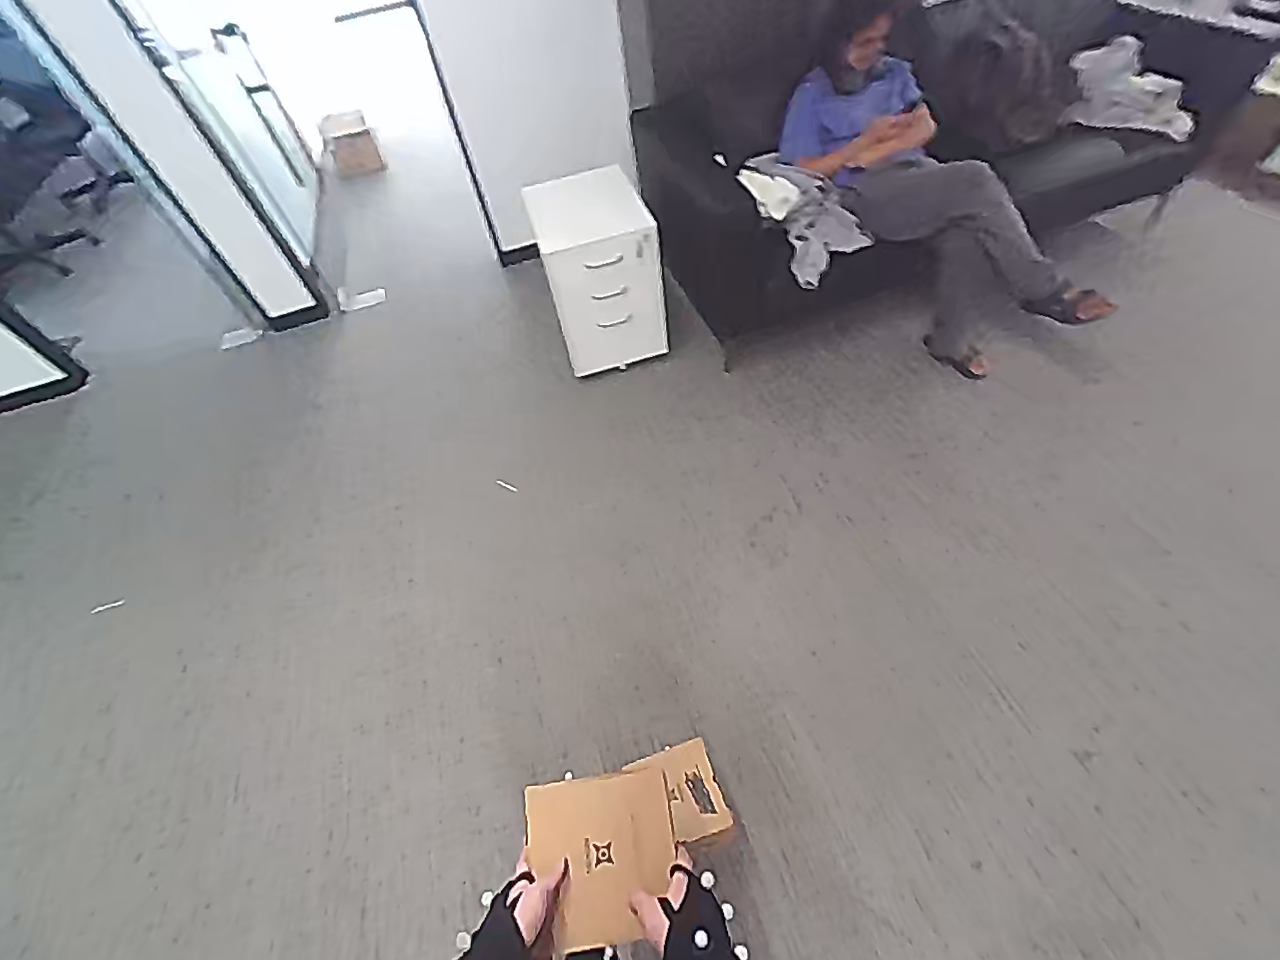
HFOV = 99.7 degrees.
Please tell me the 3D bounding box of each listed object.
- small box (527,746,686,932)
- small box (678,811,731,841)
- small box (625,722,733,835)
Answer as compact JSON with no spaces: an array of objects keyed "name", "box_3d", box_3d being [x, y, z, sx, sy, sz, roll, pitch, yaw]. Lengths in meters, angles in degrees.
[{"name":"small box","box_3d":[-0.041,0.460,0.709,0.179,0.176,0.168,-9,59,-3]},{"name":"small box","box_3d":[0.106,0.728,1.265,0.168,0.176,0.179,-17,54,-6]},{"name":"small box","box_3d":[0.082,0.633,1.132,0.179,0.176,0.168,-18,53,-5]}]
